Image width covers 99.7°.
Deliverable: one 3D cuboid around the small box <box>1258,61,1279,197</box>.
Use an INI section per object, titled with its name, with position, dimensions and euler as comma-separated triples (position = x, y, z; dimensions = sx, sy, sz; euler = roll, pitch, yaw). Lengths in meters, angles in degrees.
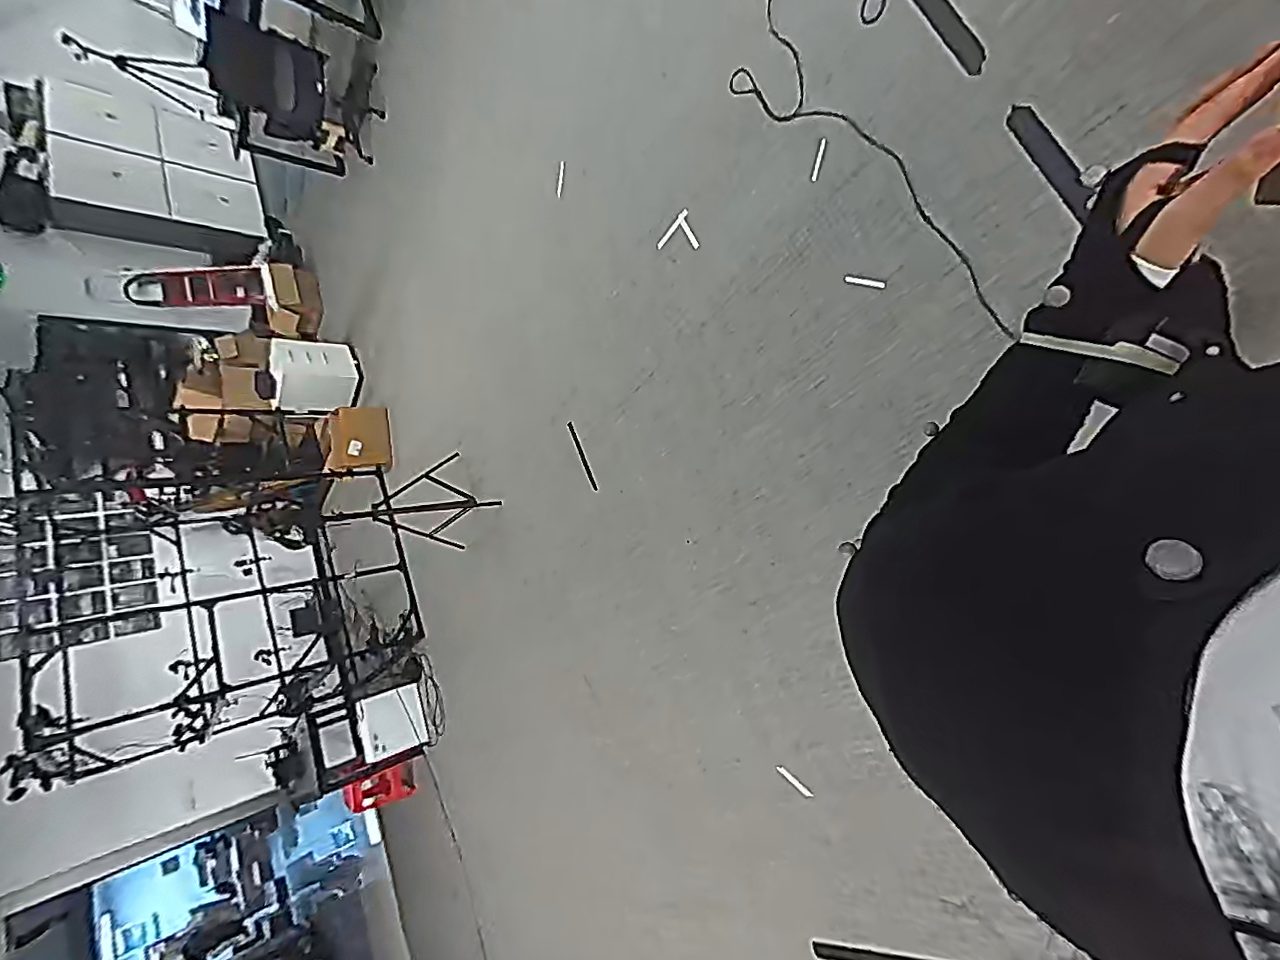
[small box]
position = 0.456, -0.264, 0.270
dimensions = 0.168, 0.176, 0.179
euler = 20, 111, 44
